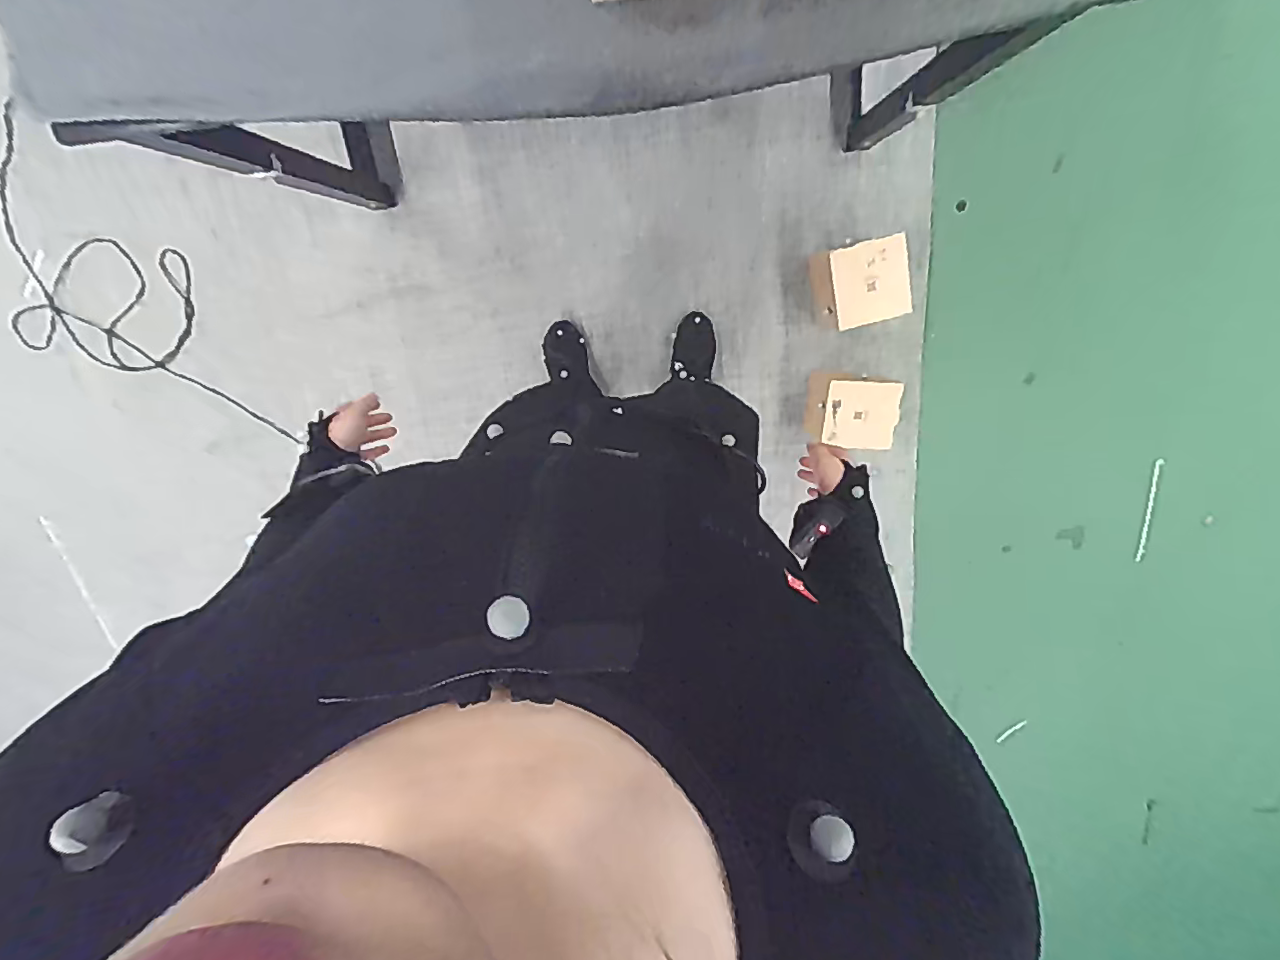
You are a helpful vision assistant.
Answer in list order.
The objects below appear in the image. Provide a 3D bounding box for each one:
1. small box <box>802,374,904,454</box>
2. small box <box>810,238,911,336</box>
[{"bbox_3d":[0.527,-0.171,1.361,0.179,0.176,0.168,3,110,0],"label":"small box"},{"bbox_3d":[0.509,-0.450,1.262,0.168,0.176,0.179,-13,109,5],"label":"small box"}]
